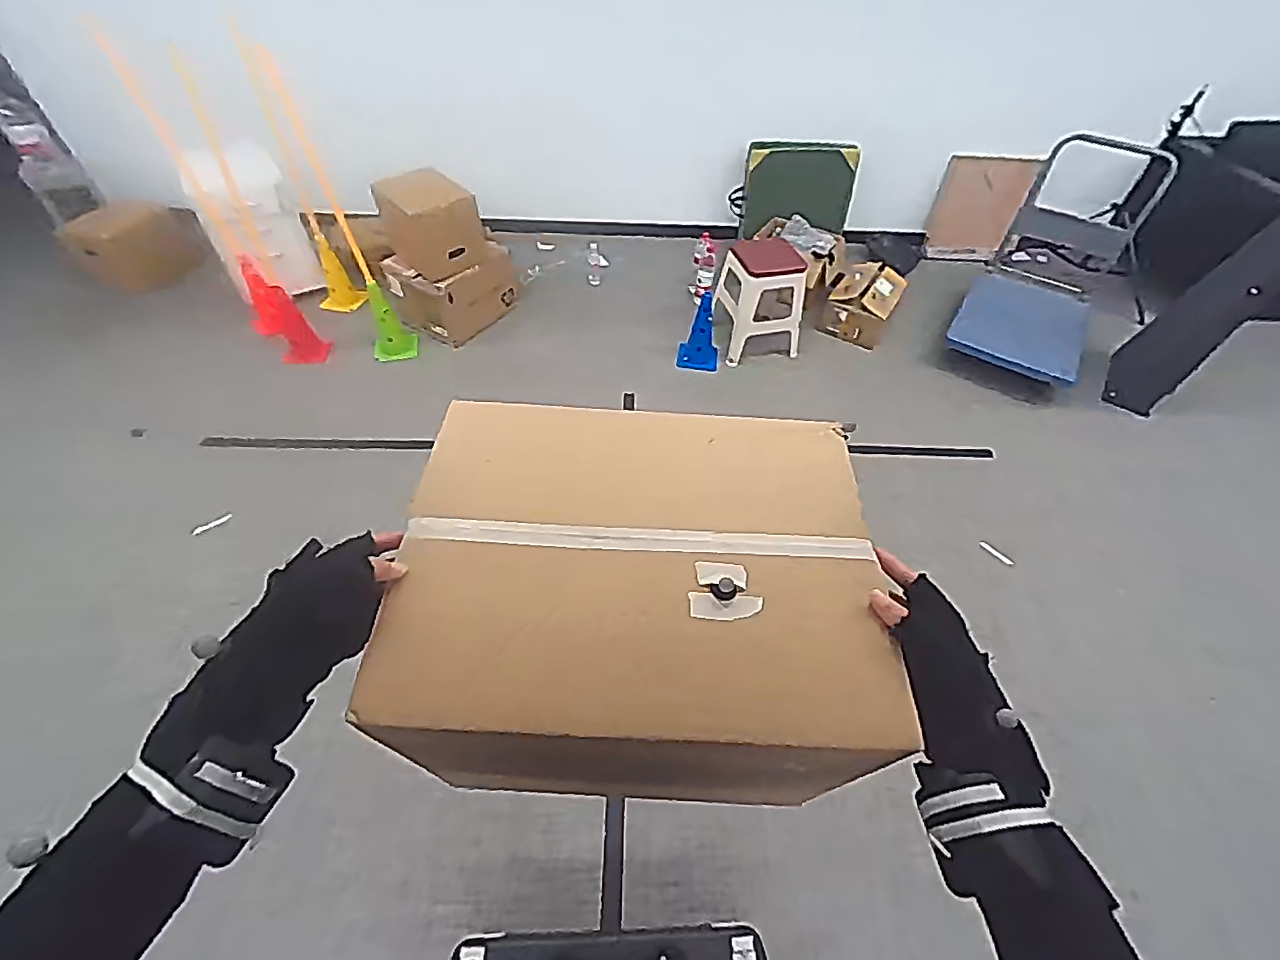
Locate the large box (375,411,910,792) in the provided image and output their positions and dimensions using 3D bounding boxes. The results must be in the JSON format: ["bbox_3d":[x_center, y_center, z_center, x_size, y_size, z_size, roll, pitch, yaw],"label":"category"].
[{"bbox_3d":[-0.001,0.147,0.601,0.408,0.320,0.320,3,54,-1],"label":"large box"}]

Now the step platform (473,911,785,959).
[{"bbox_3d":[-0.023,1.103,1.133,0.684,0.204,0.286,0,50,-4],"label":"step platform"}]
